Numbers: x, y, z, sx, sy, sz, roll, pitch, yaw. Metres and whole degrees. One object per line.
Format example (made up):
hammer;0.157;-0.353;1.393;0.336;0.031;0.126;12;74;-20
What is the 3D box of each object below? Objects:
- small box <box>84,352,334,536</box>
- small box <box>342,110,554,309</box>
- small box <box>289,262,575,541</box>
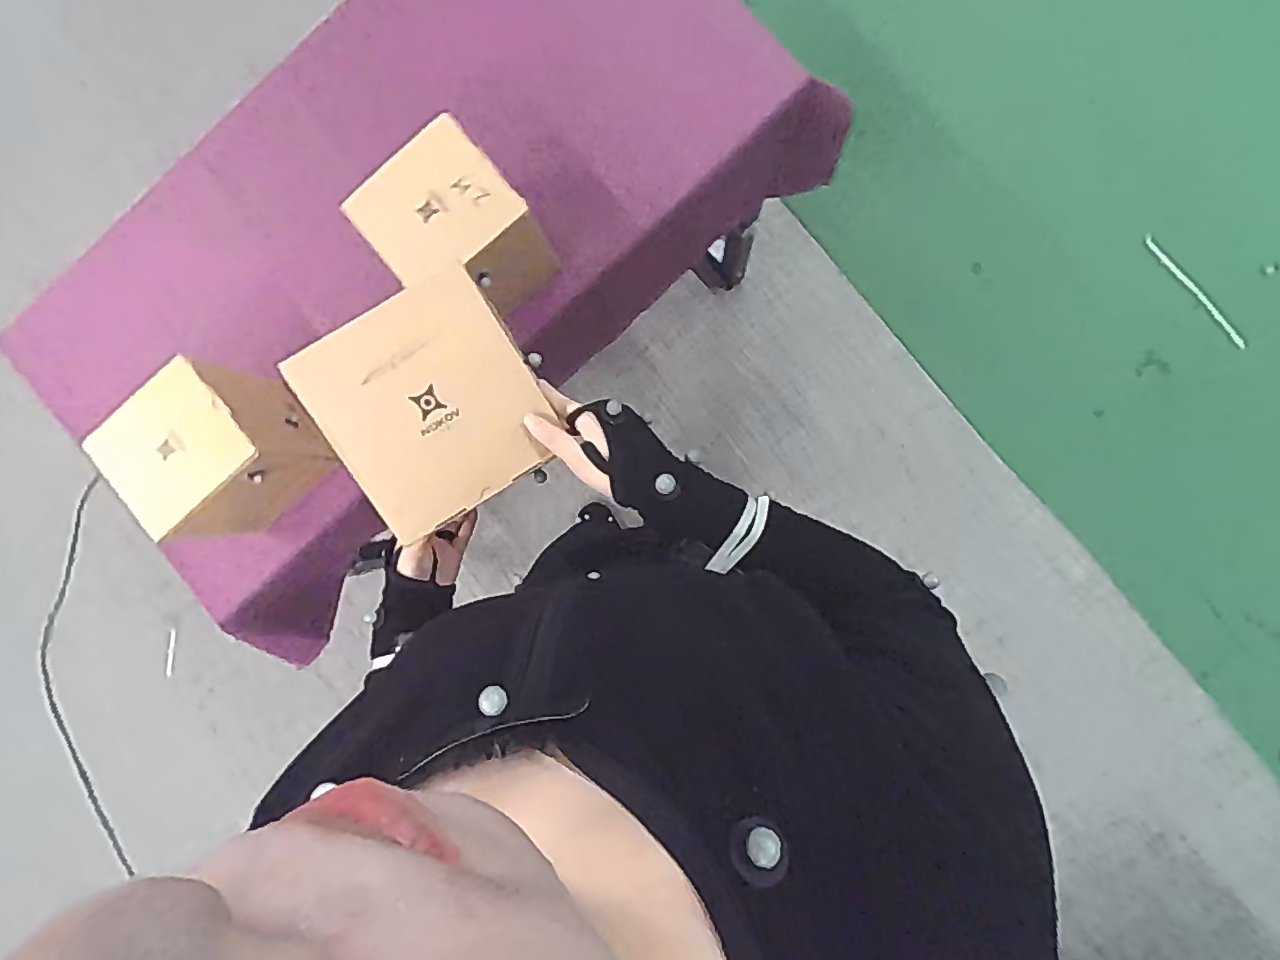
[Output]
small box;-0.577;-0.041;0.749;0.179;0.176;0.168;-41;86;1
small box;-0.242;-0.328;0.729;0.179;0.176;0.168;-40;87;3
small box;-0.173;-0.071;0.517;0.168;0.176;0.179;-31;99;-3
